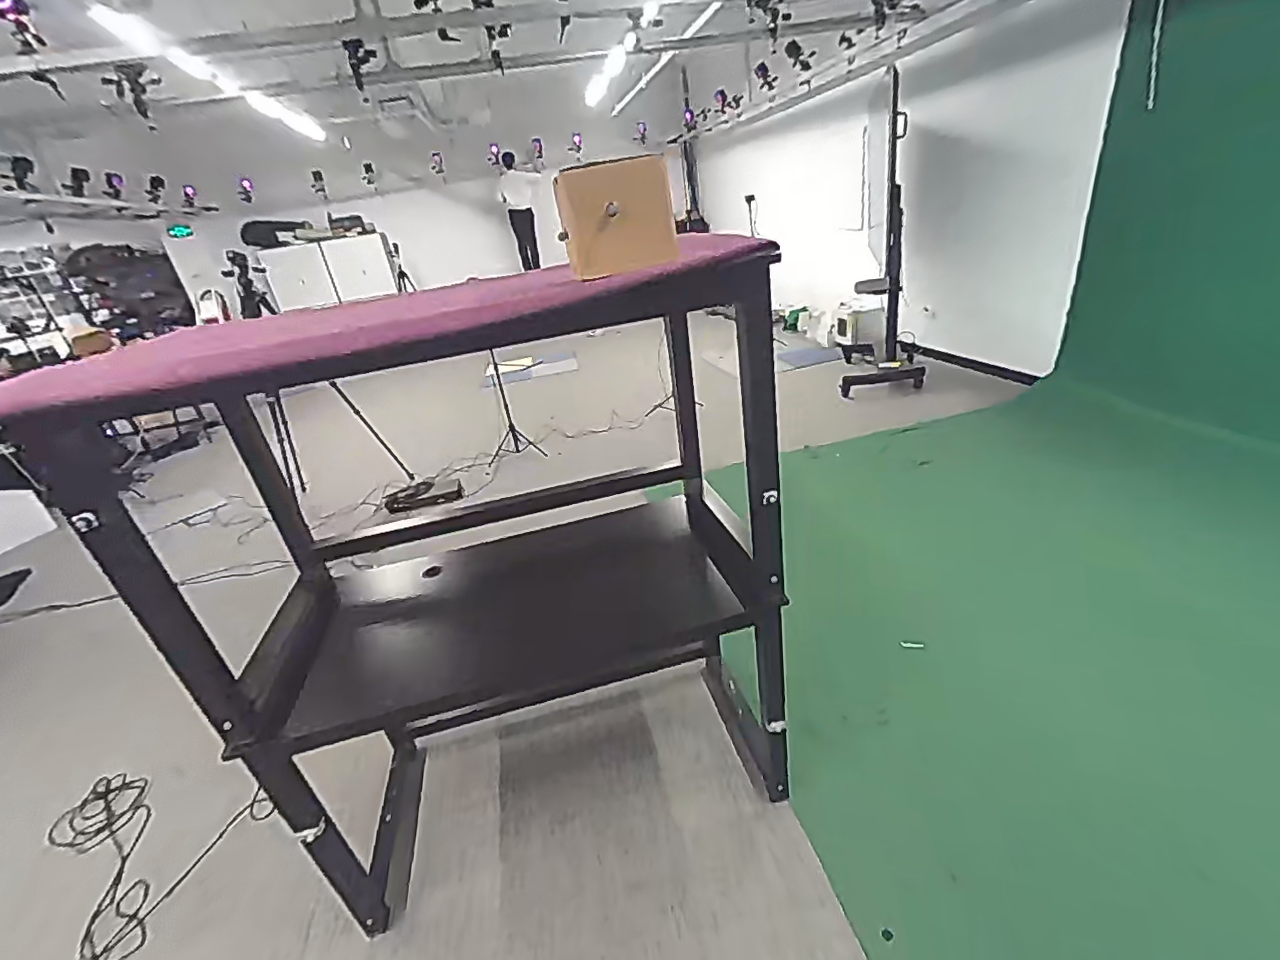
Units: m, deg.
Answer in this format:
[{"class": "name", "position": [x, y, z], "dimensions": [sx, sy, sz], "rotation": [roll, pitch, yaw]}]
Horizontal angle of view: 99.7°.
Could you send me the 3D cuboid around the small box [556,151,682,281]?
[{"class": "small box", "position": [-0.039, -0.453, 0.950], "dimensions": [0.179, 0.176, 0.168], "rotation": [-14, 24, -7]}]
